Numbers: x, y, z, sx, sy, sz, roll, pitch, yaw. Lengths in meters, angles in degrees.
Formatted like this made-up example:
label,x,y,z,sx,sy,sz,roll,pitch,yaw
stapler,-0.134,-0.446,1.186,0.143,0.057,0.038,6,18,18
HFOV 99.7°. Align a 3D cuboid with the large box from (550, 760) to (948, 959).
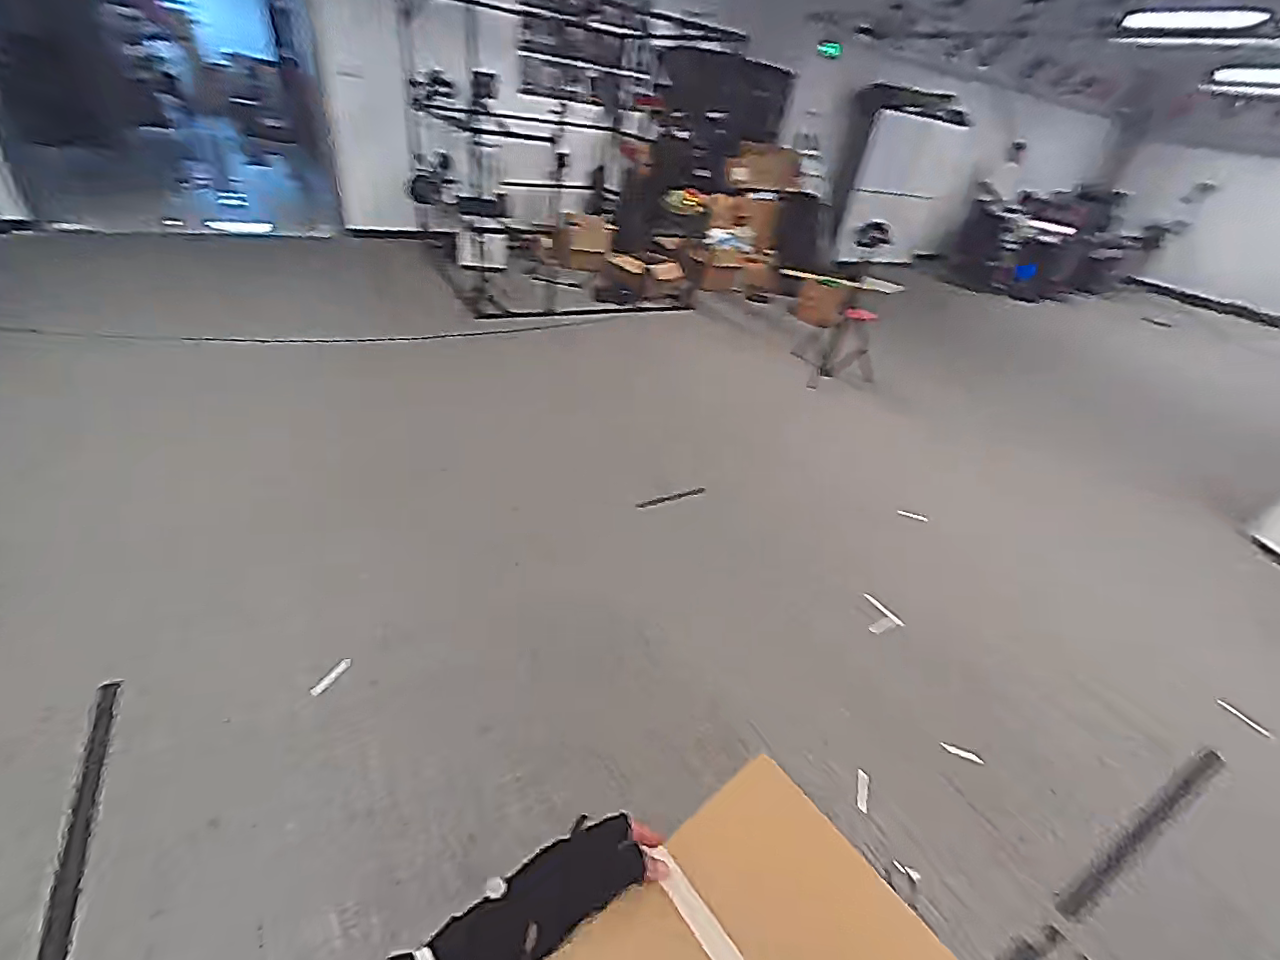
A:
label,x,y,z,sx,sy,sz,roll,pitch,yaw
large box,0.115,0.565,0.477,0.320,0.320,0.408,-23,49,-35
